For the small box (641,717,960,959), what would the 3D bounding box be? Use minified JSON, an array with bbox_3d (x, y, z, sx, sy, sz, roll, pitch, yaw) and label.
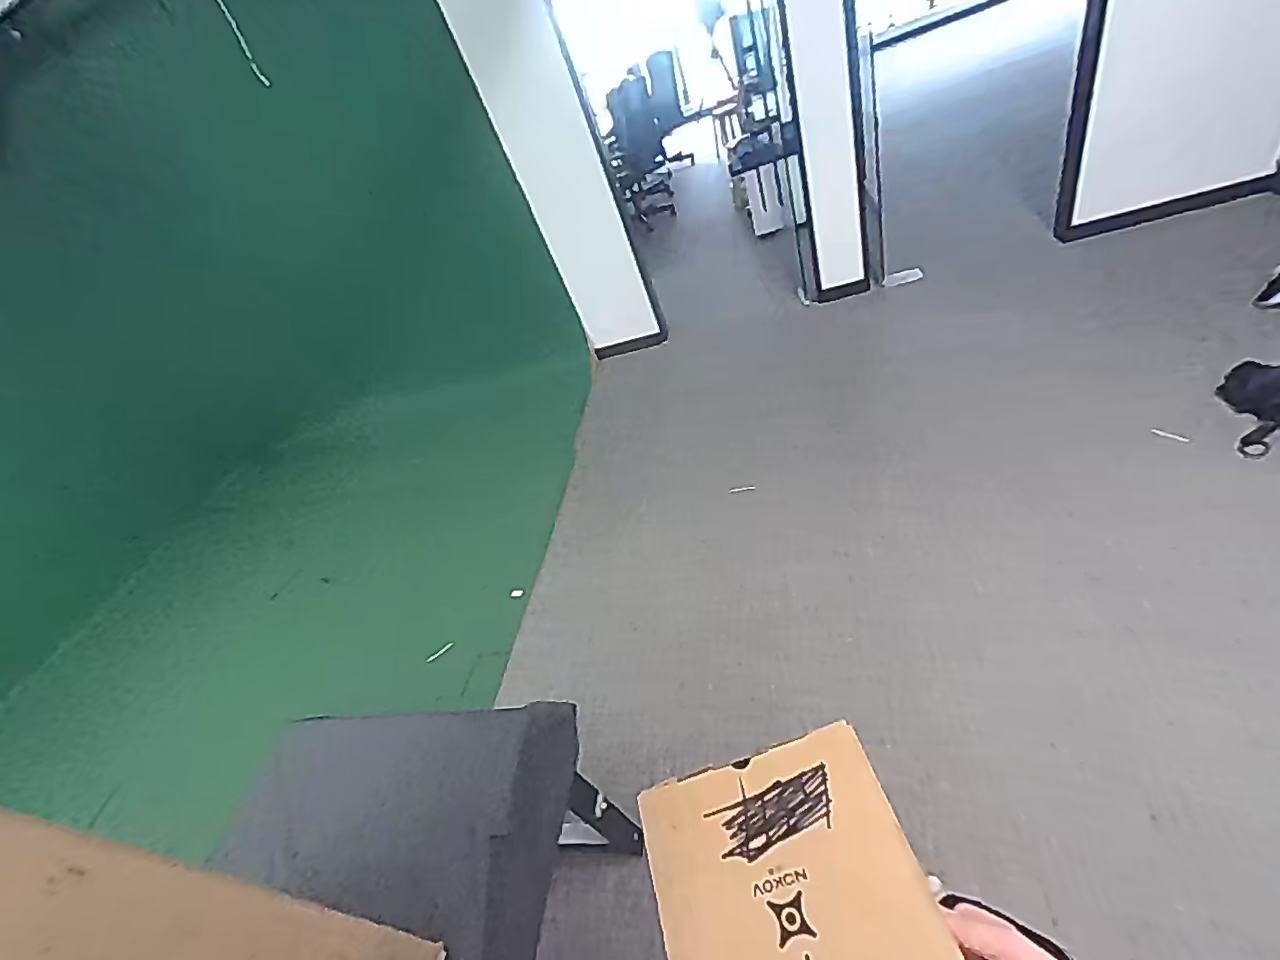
[{"bbox_3d":[0.114,0.308,0.394,0.168,0.176,0.179,-21,45,5],"label":"small box"}]
